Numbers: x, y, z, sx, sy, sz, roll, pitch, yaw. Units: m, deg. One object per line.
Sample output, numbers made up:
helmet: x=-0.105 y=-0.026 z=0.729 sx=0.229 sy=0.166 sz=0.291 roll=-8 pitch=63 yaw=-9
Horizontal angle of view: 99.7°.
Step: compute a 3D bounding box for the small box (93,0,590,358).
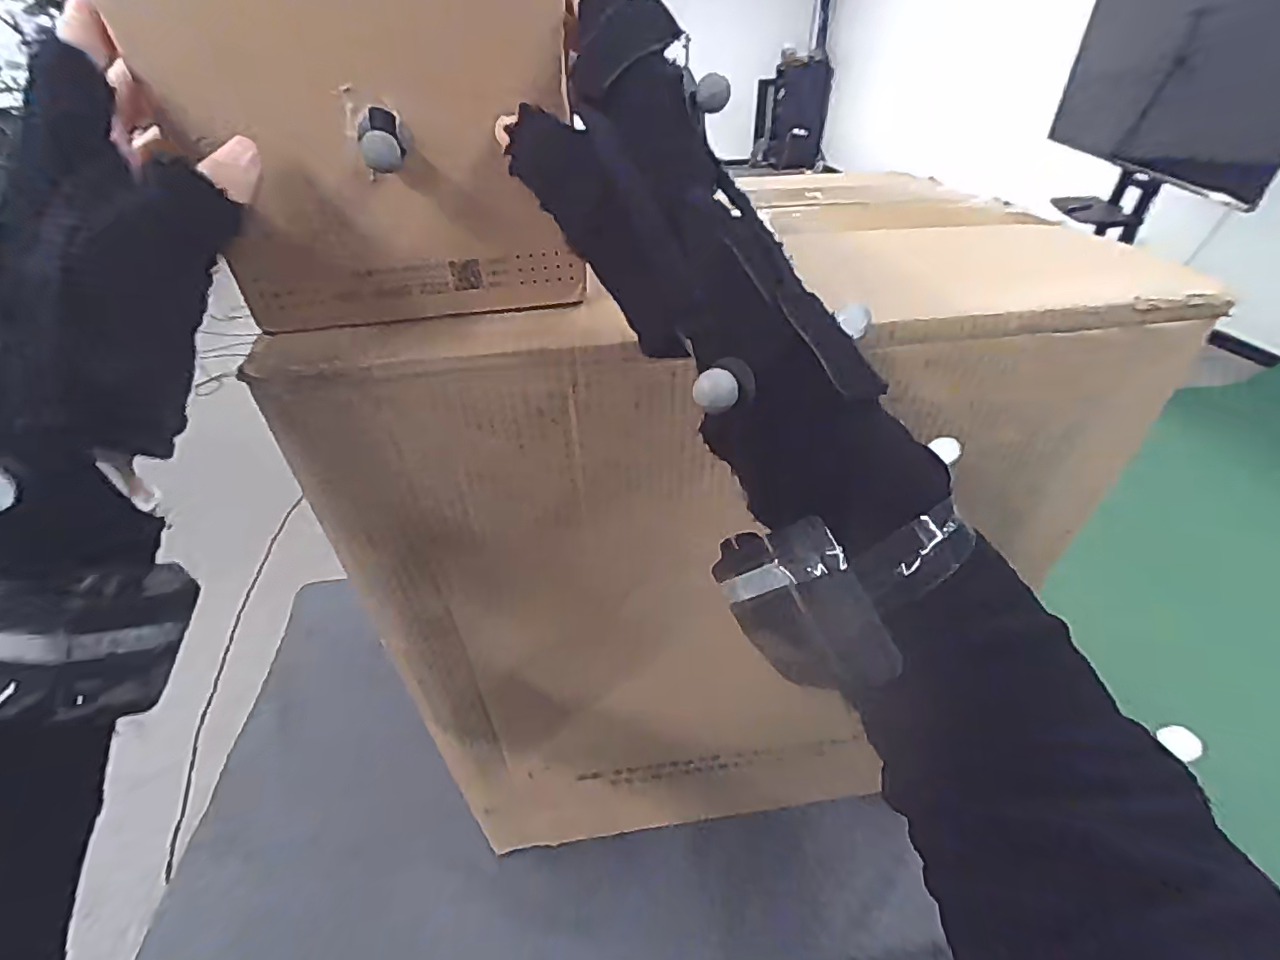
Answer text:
small box: x=-0.128 y=-0.180 z=0.311 sx=0.168 sy=0.176 sz=0.179 roll=-11 pitch=41 yaw=-8
